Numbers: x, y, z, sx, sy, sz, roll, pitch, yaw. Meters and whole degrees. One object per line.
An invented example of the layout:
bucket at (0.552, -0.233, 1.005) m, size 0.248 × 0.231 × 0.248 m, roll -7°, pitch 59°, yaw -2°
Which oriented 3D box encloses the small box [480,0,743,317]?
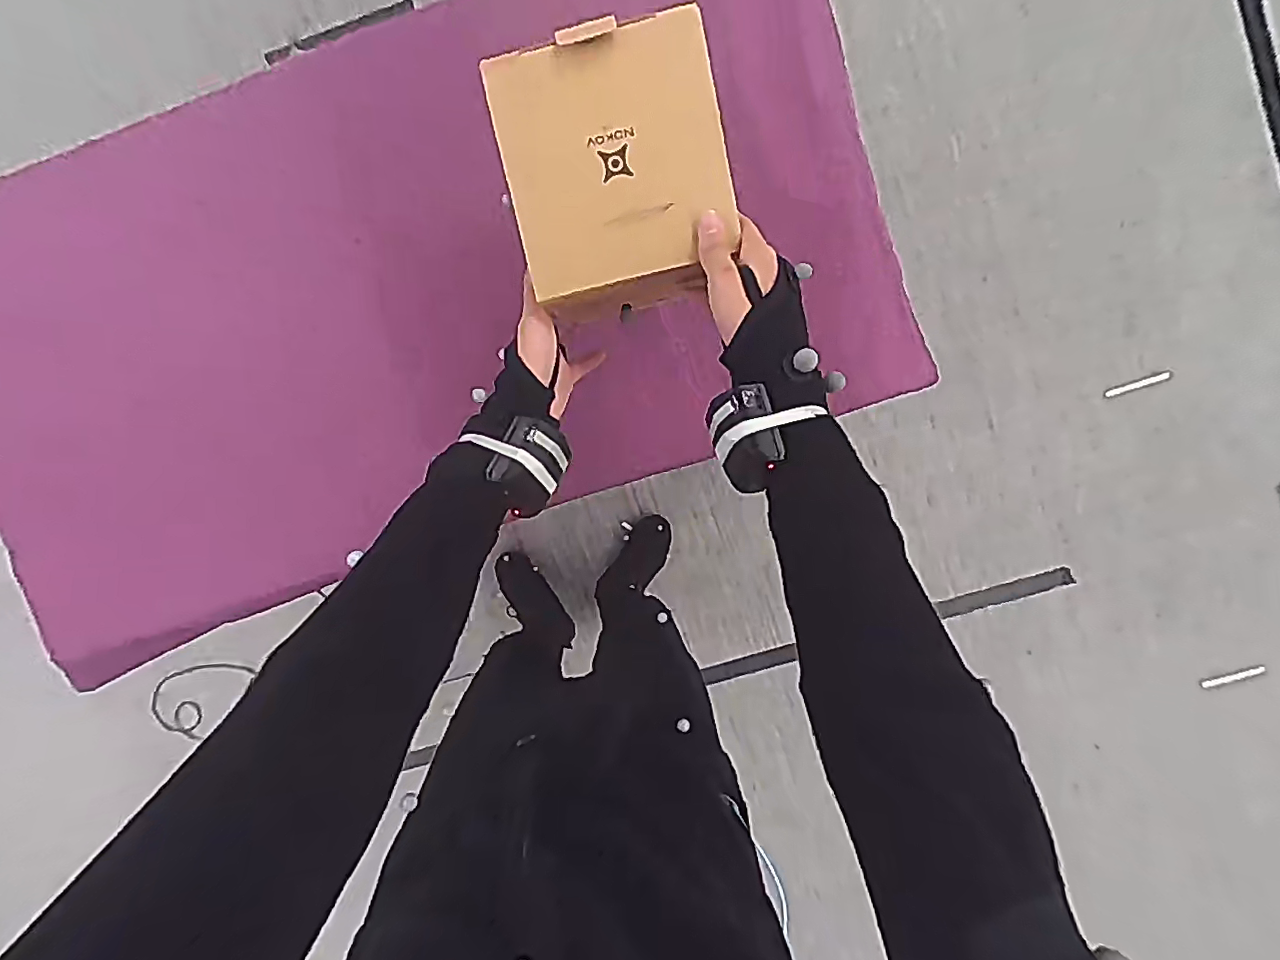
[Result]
small box at (-0.017, -0.254, 0.469) m, size 0.168 × 0.176 × 0.179 m, roll -11°, pitch 100°, yaw 4°
